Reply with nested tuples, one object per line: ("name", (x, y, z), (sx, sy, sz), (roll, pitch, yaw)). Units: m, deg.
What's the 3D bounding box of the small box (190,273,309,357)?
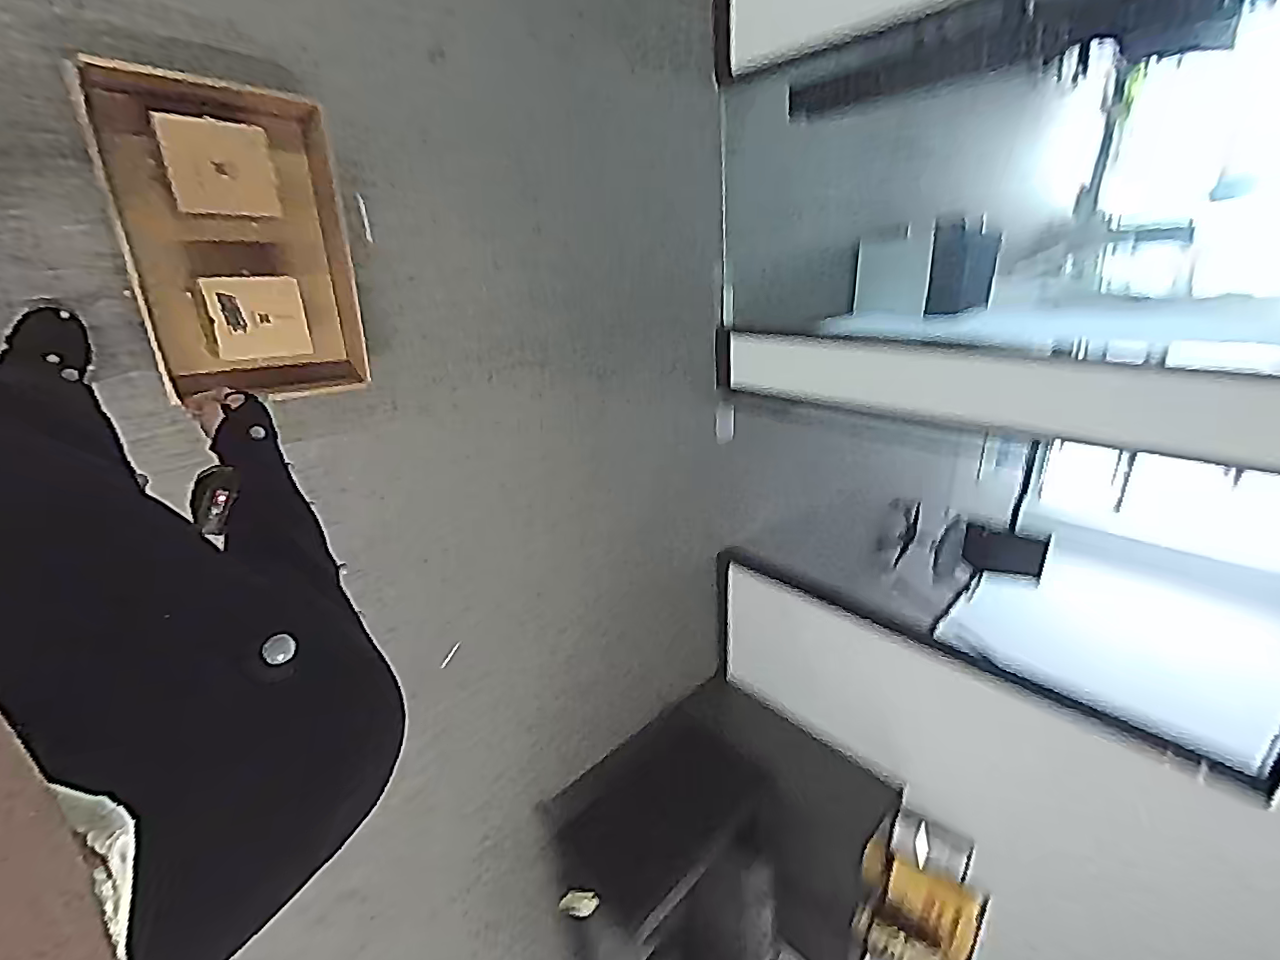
("small box", (-0.864, -0.365, 1.193), (0.179, 0.176, 0.168), (-19, 117, -41))
